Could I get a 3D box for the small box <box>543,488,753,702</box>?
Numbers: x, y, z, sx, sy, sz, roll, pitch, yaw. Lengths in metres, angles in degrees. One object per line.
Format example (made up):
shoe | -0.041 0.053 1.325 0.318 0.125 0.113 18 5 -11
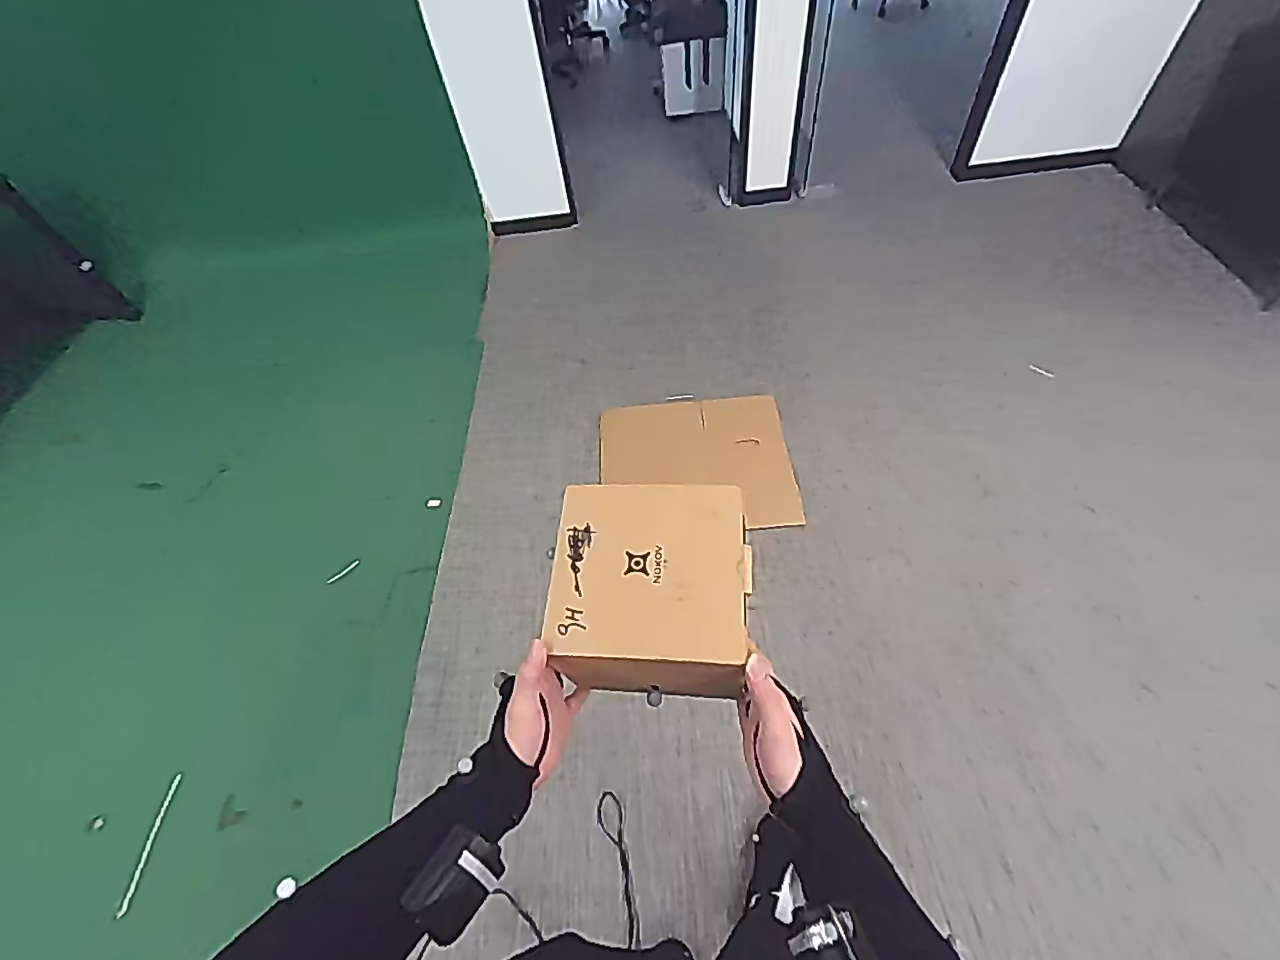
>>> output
small box | 0.017 0.122 0.551 0.179 0.176 0.168 1 58 7
